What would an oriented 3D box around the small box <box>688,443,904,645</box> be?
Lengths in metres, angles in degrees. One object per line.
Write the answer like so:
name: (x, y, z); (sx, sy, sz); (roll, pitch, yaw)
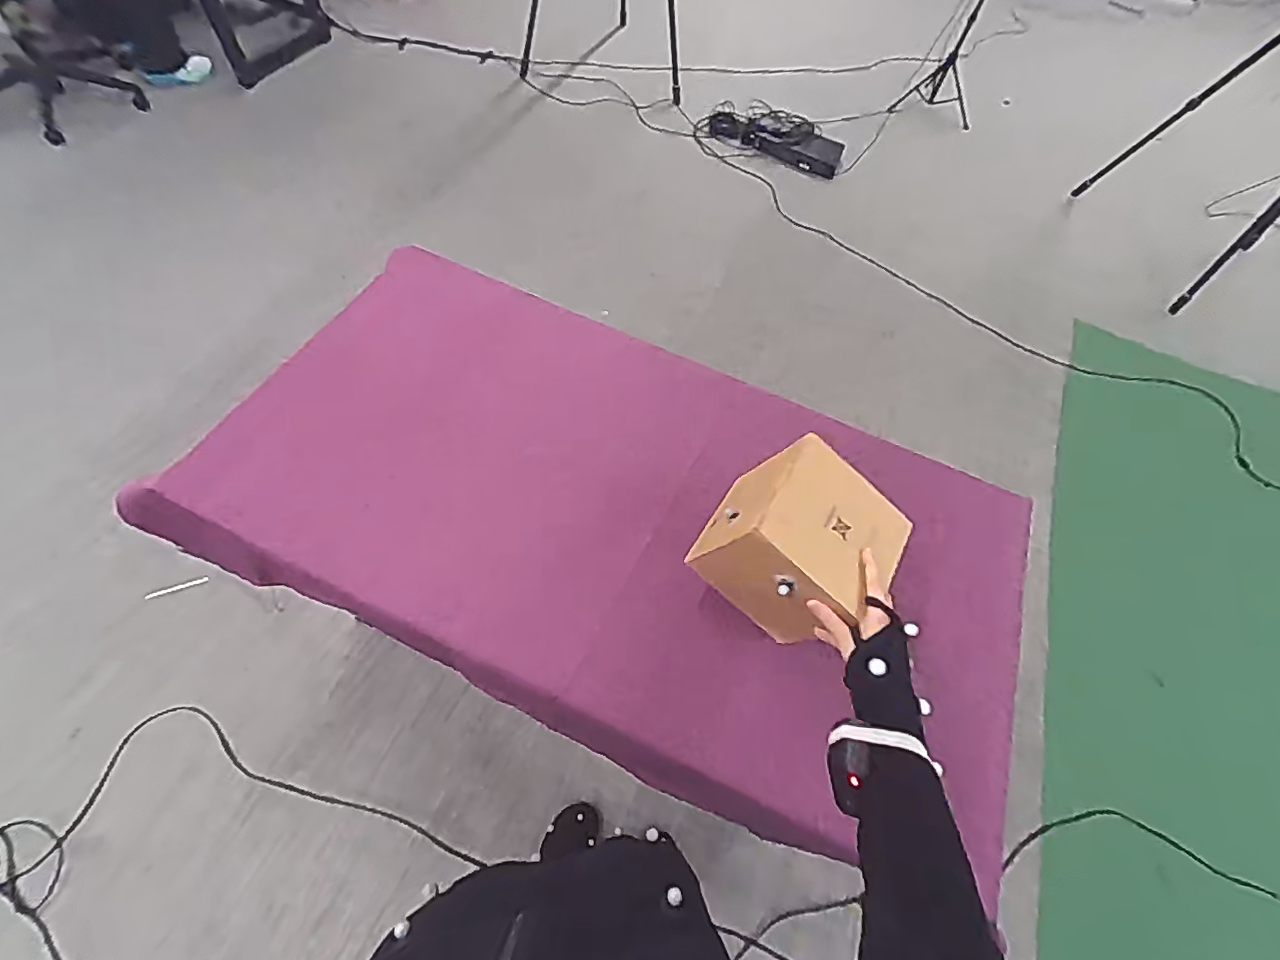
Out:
small box: (0.192, 0.091, 0.695); (0.179, 0.176, 0.168); (41, 57, -2)
